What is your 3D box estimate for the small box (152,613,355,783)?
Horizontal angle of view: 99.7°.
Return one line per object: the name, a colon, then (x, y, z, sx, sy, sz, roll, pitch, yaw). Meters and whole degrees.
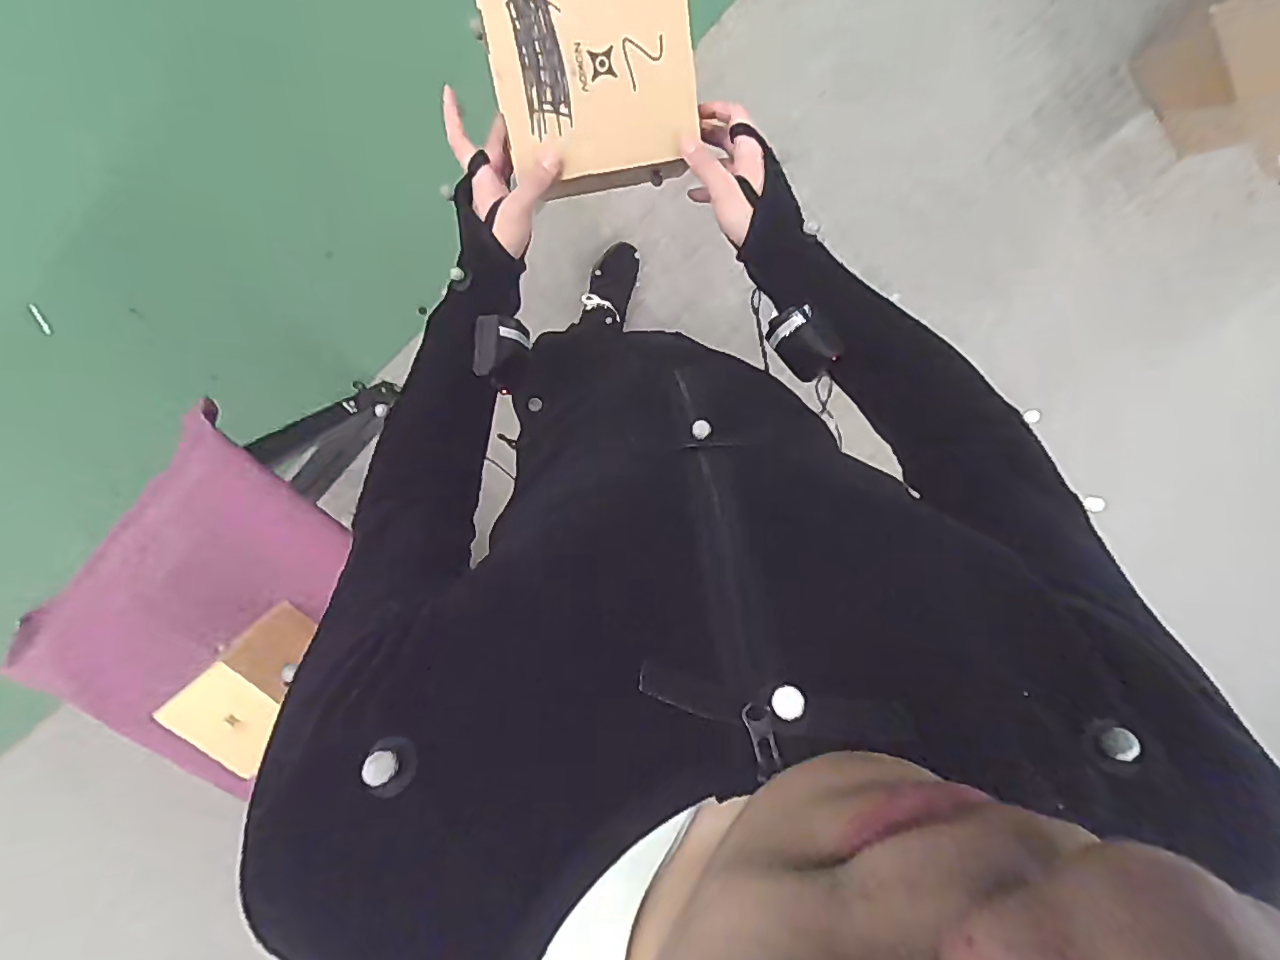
small box: (-0.623, 0.348, 0.898, 0.168, 0.176, 0.179, -37, 109, 9)
